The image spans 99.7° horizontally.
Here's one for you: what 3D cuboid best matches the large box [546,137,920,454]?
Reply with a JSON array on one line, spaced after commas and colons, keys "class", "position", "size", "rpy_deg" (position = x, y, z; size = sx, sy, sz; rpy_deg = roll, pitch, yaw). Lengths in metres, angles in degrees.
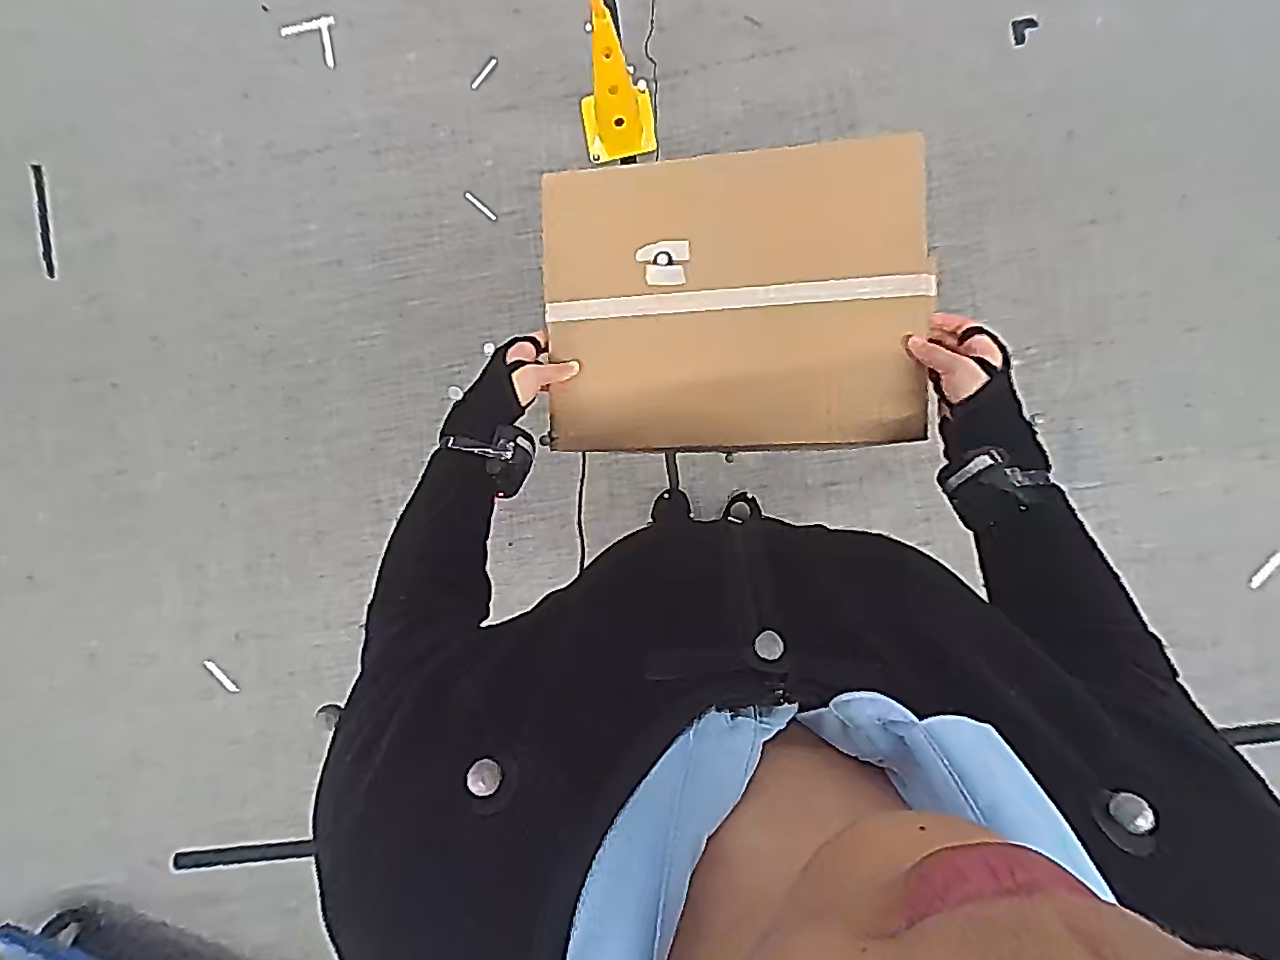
[{"class": "large box", "position": [0.119, -0.199, 0.742], "size": [0.408, 0.320, 0.320], "rpy_deg": [-2, 90, 10]}]
